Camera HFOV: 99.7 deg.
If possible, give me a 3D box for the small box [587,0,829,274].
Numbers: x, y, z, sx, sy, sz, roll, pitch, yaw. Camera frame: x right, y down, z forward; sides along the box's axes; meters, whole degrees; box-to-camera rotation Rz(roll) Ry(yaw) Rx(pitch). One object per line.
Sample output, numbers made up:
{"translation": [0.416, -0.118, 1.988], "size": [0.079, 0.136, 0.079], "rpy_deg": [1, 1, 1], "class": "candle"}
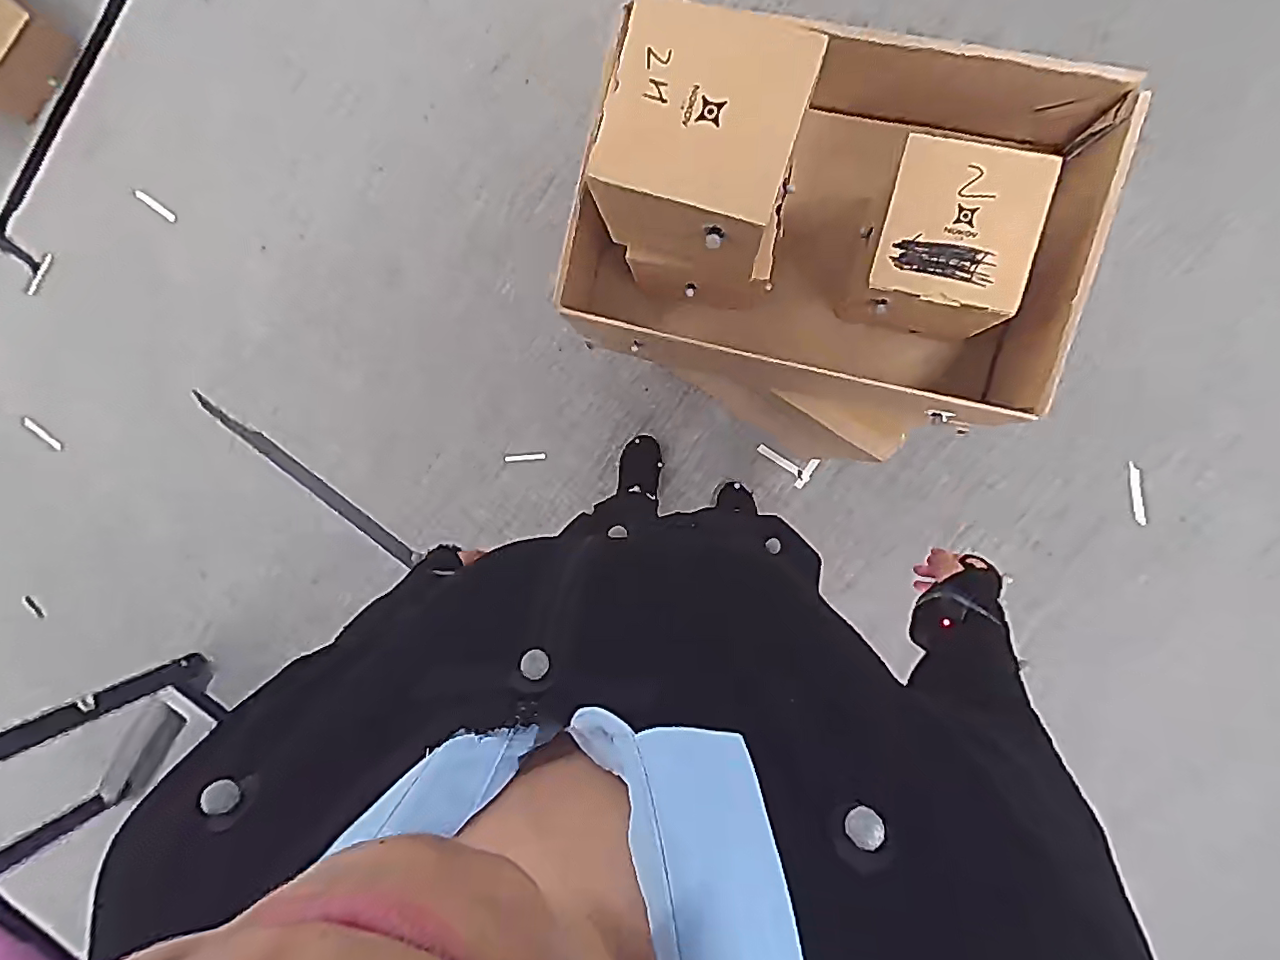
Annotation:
{"translation": [0.066, -0.331, 0.558], "size": [0.179, 0.176, 0.168], "rpy_deg": [19, 95, 6], "class": "small box"}
